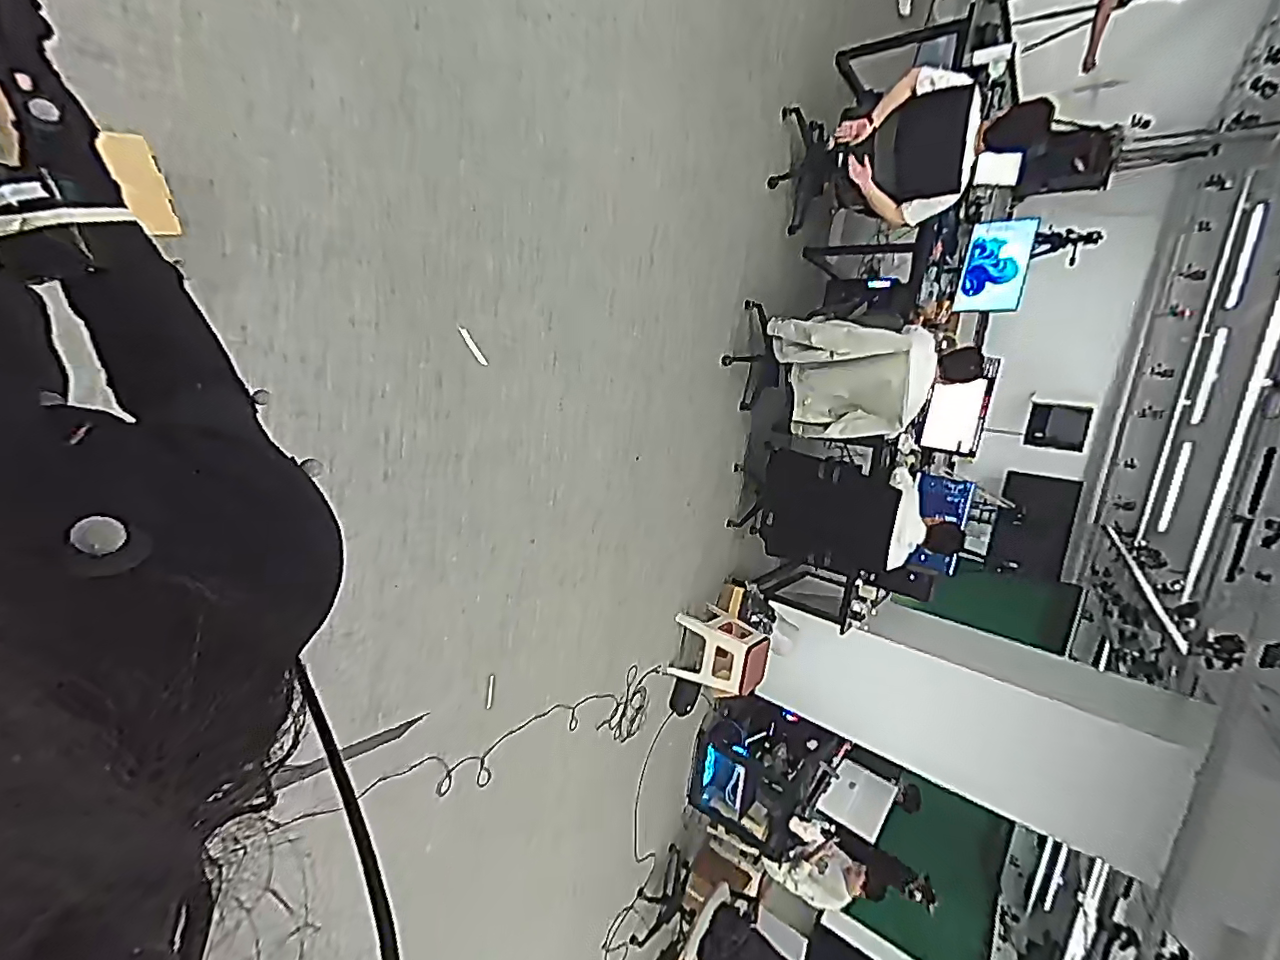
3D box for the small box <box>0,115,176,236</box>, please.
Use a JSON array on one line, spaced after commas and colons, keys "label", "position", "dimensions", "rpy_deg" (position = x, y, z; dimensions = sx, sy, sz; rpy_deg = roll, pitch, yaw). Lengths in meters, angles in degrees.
[{"label": "small box", "position": [-0.993, -0.534, 0.970], "dimensions": [0.179, 0.176, 0.168], "rpy_deg": [-30, 124, -44]}]
